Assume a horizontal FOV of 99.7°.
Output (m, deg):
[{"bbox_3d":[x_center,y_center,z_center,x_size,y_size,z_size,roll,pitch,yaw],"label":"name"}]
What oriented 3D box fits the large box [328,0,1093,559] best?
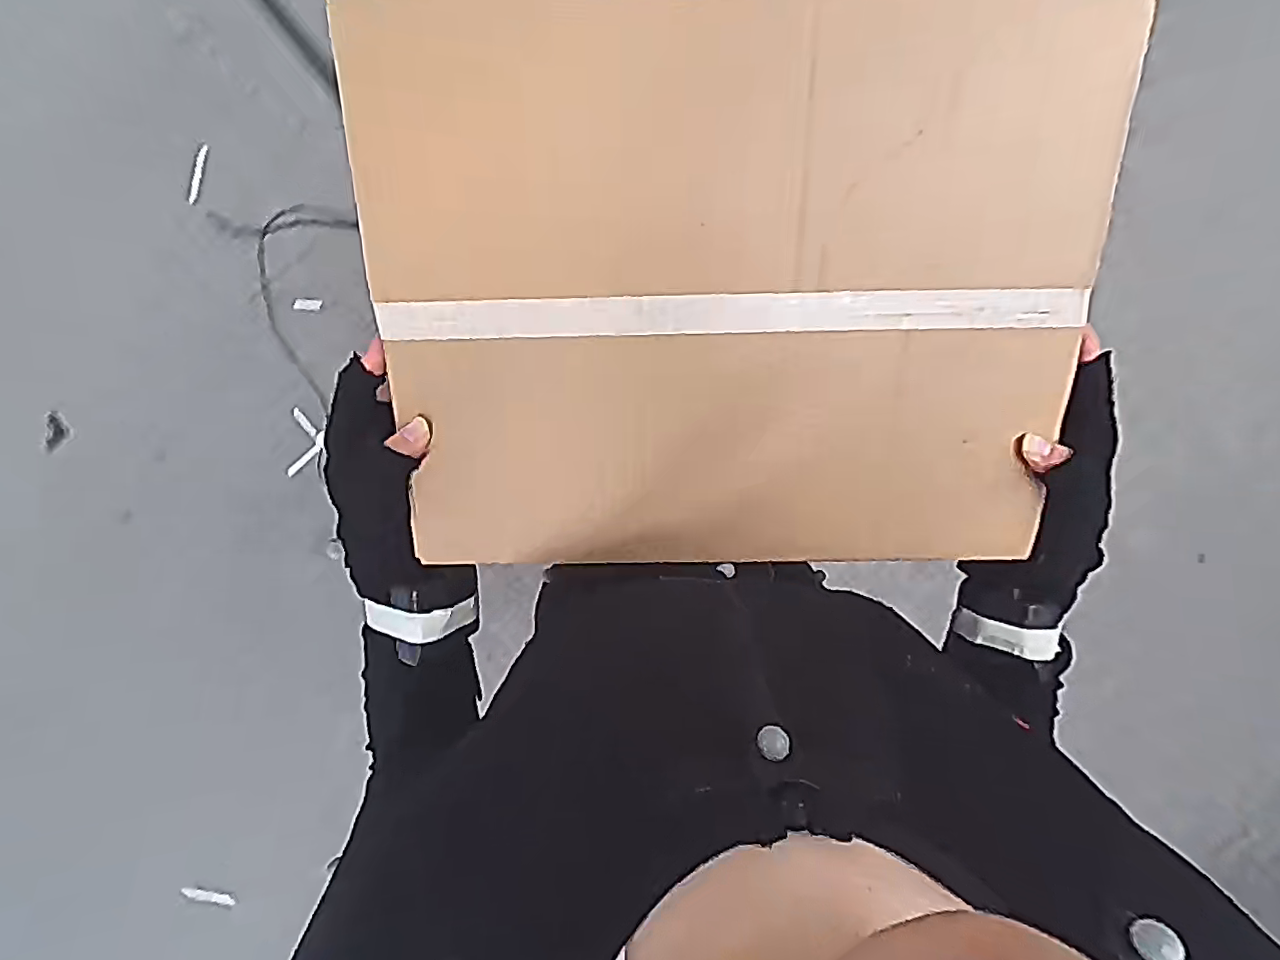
[{"bbox_3d":[0.040,-0.145,0.463,0.408,0.320,0.320,-2,109,0],"label":"large box"}]
